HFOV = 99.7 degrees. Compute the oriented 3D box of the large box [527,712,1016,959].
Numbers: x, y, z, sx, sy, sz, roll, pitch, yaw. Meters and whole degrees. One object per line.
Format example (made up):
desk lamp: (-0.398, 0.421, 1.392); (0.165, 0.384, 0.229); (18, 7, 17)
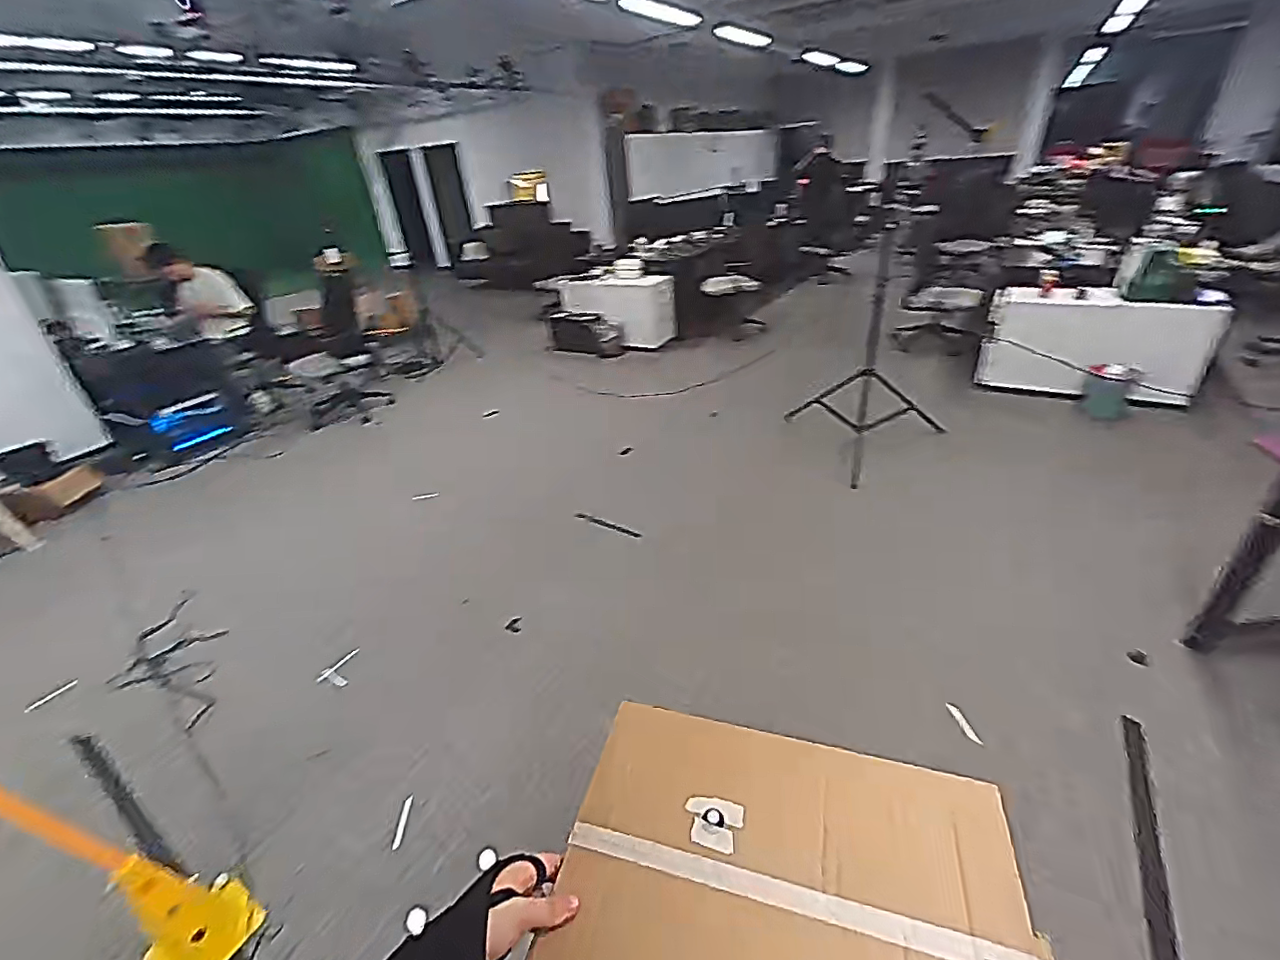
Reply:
large box: (0.134, 0.502, 0.572); (0.408, 0.320, 0.320); (3, 33, 17)
